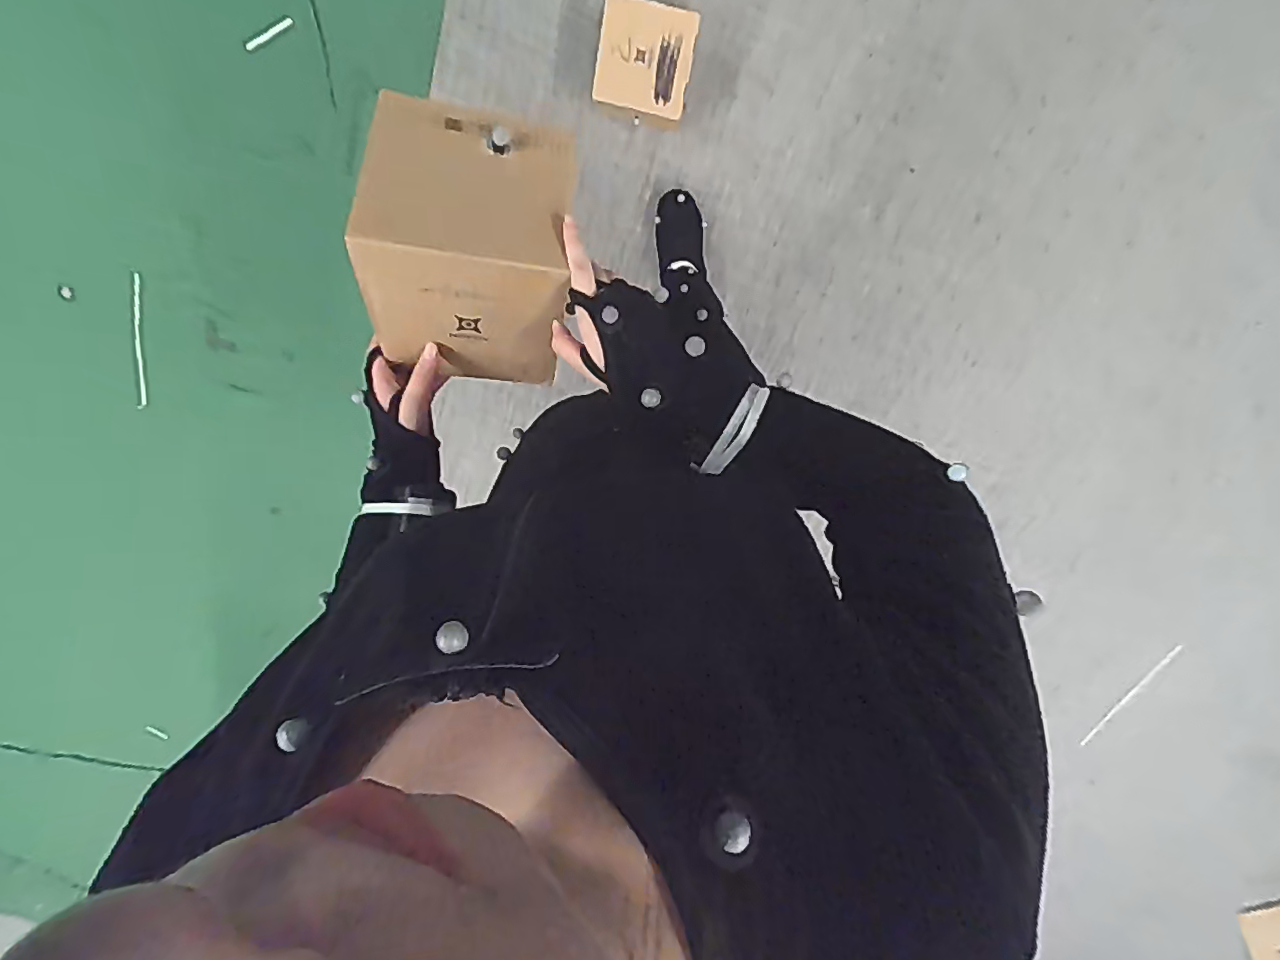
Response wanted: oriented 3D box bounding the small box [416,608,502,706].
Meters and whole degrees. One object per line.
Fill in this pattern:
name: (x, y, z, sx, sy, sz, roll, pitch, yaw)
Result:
small box: (-0.511, 0.500, 1.546, 0.168, 0.176, 0.179, 23, 113, -8)
